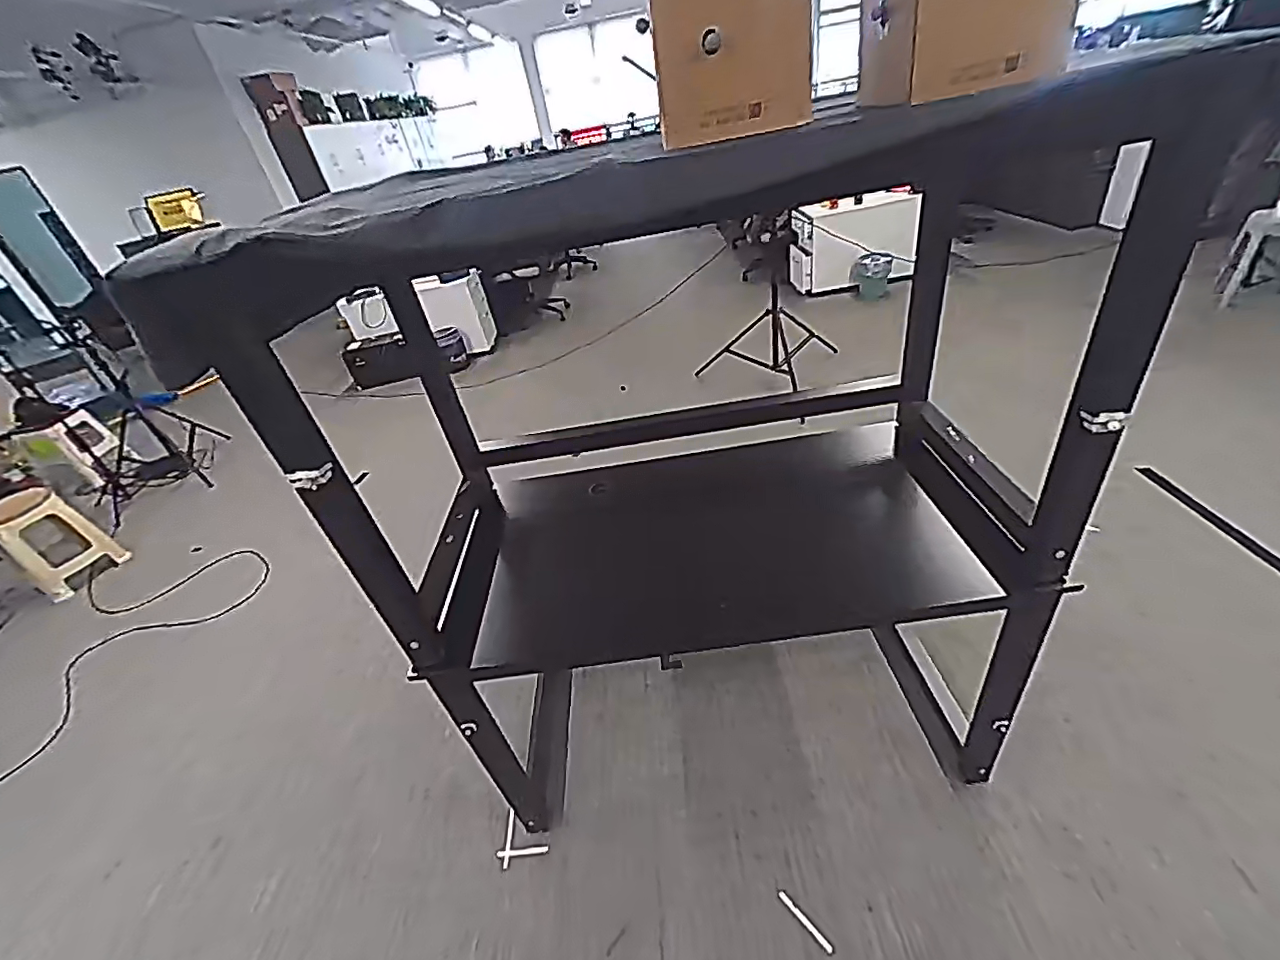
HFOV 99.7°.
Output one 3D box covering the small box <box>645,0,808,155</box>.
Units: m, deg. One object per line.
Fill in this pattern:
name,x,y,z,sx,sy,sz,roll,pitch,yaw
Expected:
small box,0.099,-0.496,0.639,0.168,0.176,0.179,-7,33,7
